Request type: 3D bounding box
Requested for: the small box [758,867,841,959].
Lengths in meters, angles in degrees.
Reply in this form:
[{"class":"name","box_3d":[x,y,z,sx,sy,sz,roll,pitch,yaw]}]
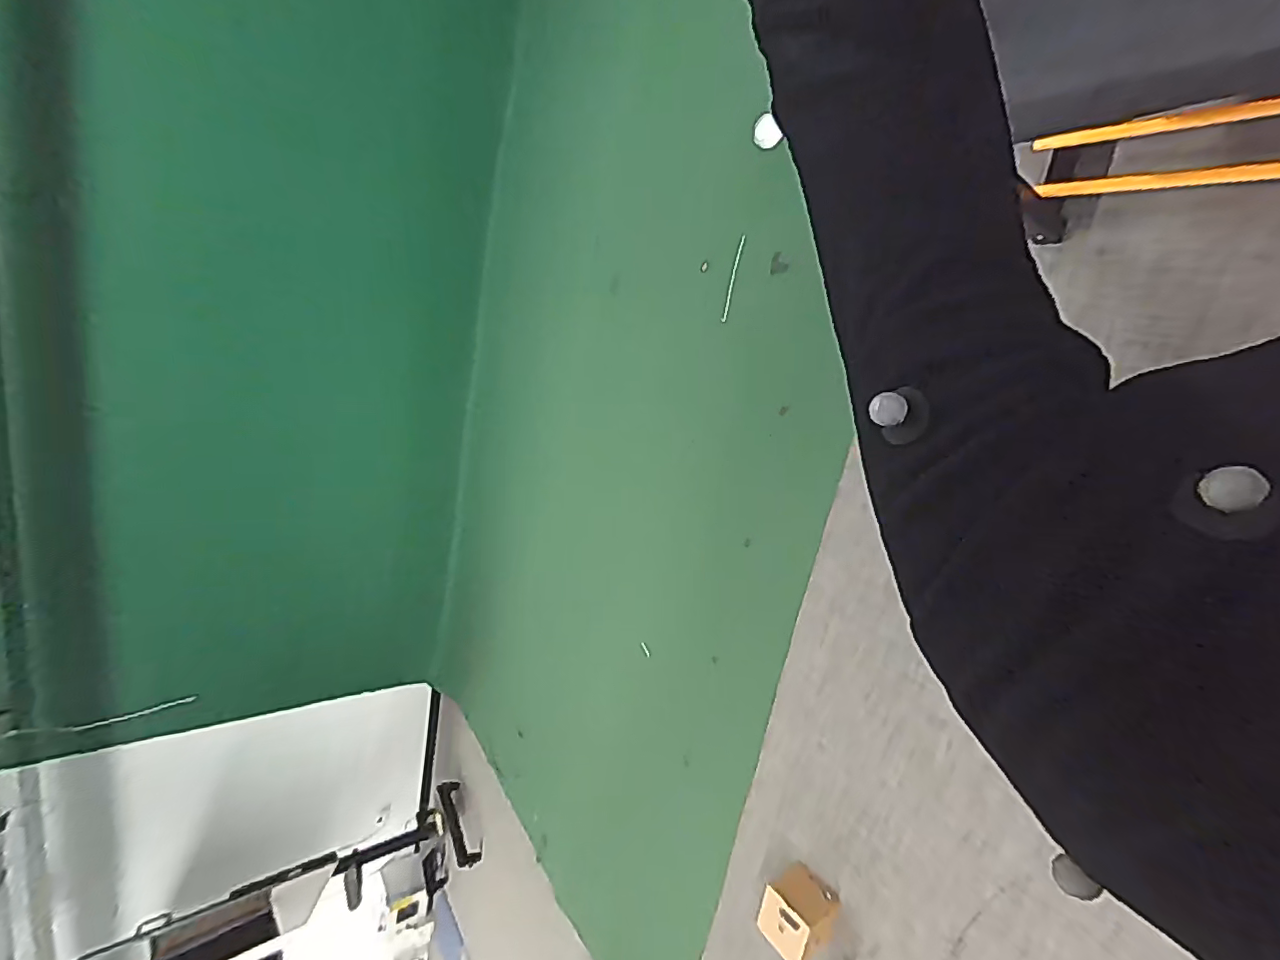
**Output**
[{"class":"small box","box_3d":[0.502,1.369,1.692,0.168,0.176,0.179,25,109,50]}]
